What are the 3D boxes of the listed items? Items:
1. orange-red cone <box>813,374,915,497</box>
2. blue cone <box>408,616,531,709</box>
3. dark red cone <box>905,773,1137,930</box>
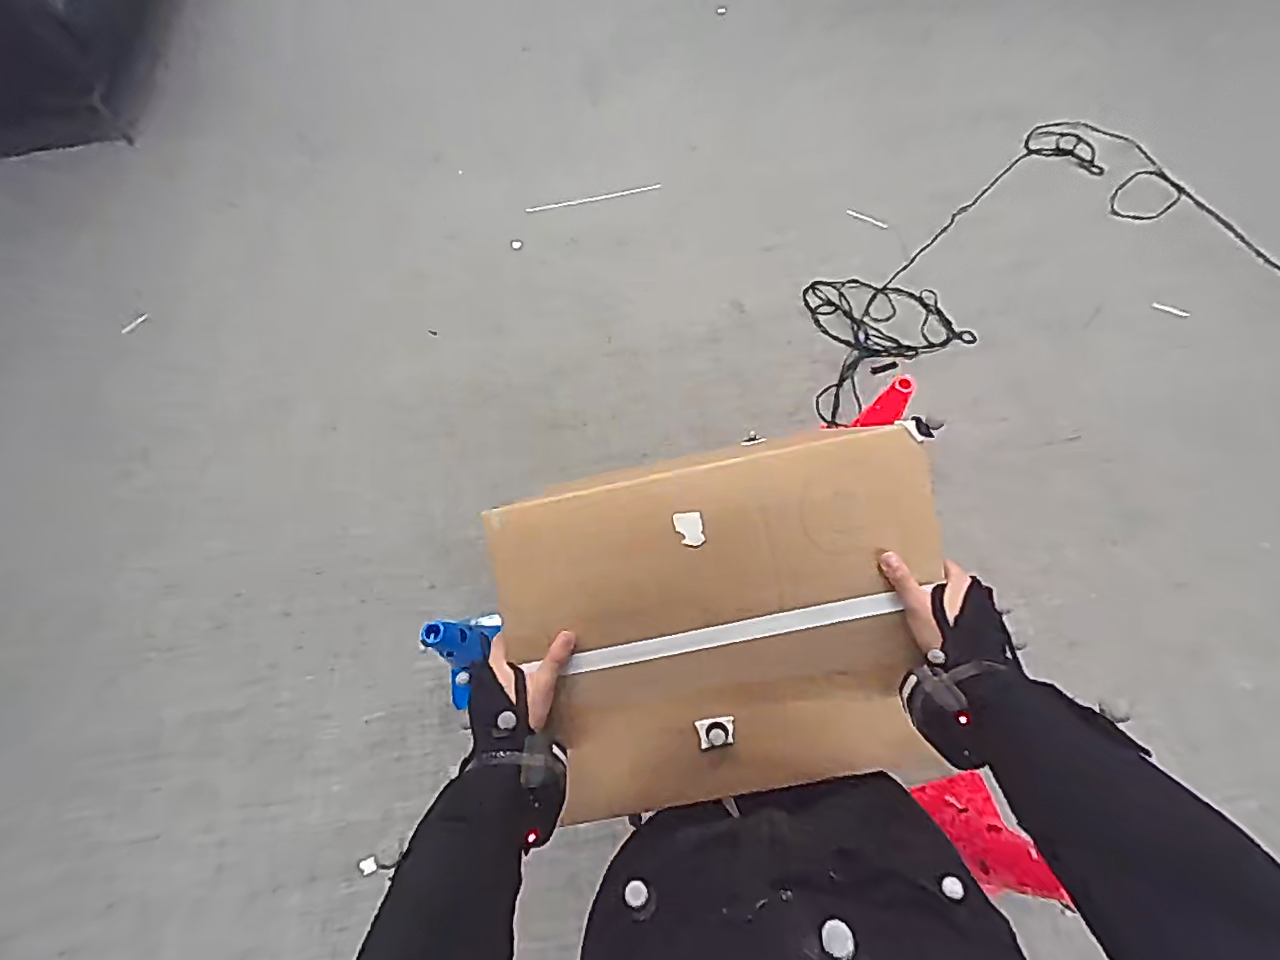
[{"bbox_3d":[0.542,-0.127,1.235,0.199,0.360,0.198,9,67,7],"label":"orange-red cone"},{"bbox_3d":[-0.362,0.347,1.105,0.192,0.380,0.193,-10,64,1],"label":"blue cone"},{"bbox_3d":[0.611,0.615,0.857,0.202,0.394,0.201,-17,68,-3],"label":"dark red cone"}]
